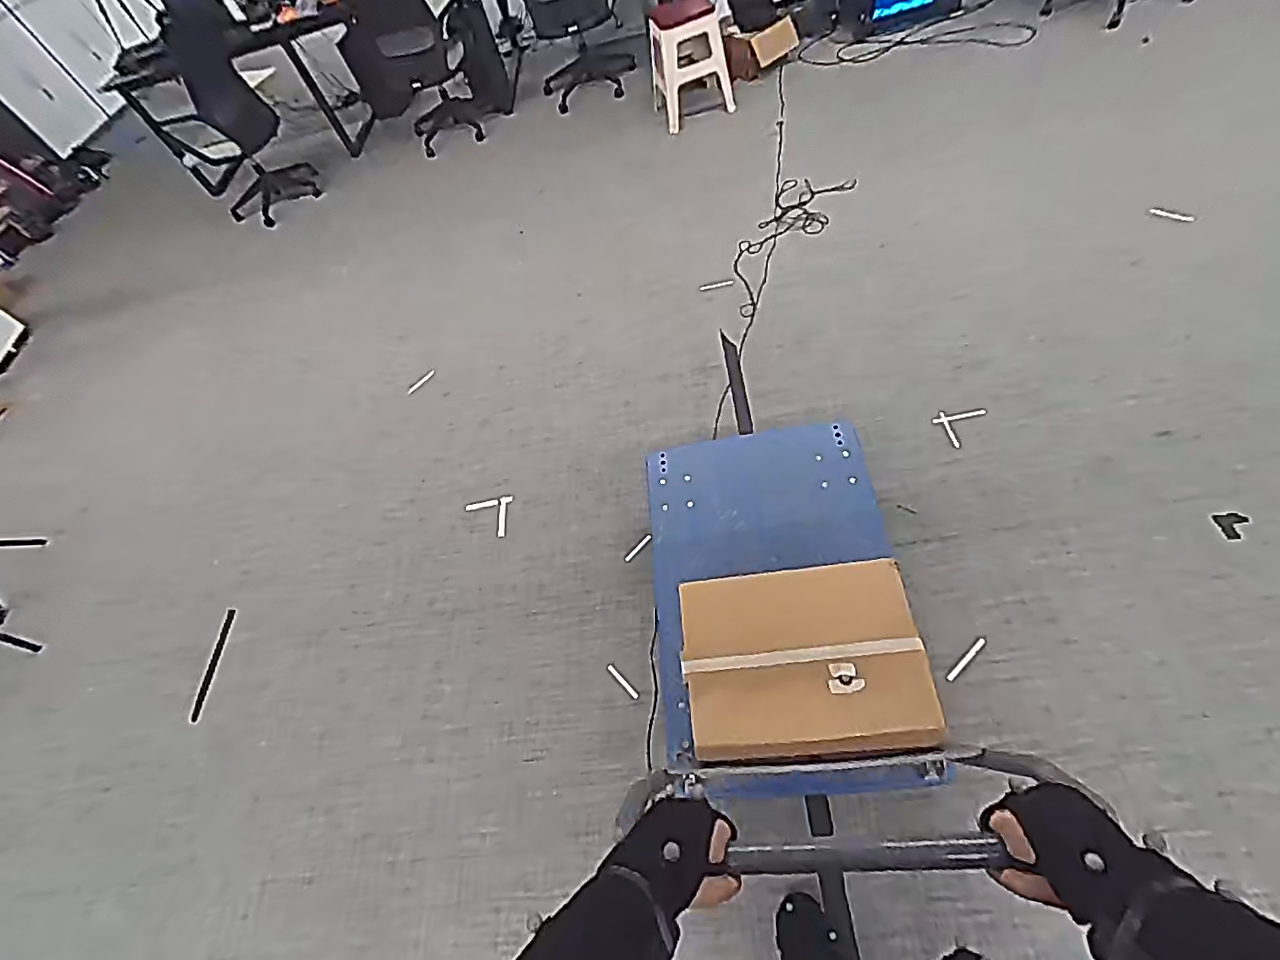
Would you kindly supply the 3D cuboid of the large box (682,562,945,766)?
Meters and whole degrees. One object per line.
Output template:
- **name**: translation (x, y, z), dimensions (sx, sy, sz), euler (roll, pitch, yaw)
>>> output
- **large box**: translation (0.315, 0.387, 1.092), dimensions (0.408, 0.320, 0.320), euler (-9, 62, 8)
